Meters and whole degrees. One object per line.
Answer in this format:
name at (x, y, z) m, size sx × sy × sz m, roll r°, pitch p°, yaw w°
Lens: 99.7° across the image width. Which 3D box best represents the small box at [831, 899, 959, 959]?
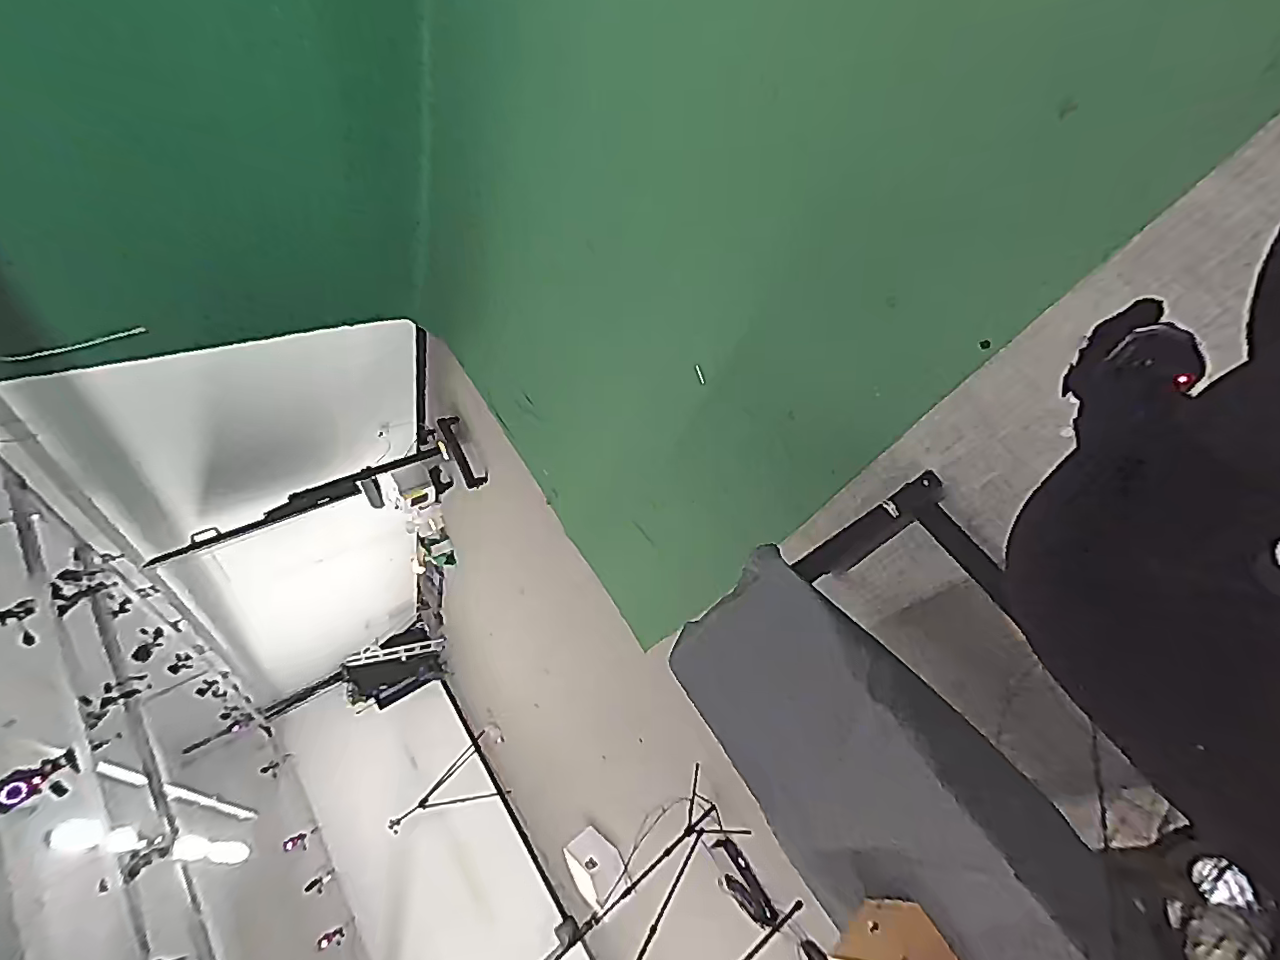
small box at (0.544, 1.016, 1.120) m, size 0.179 × 0.176 × 0.168 m, roll 54°, pitch 143°, yaw 18°
